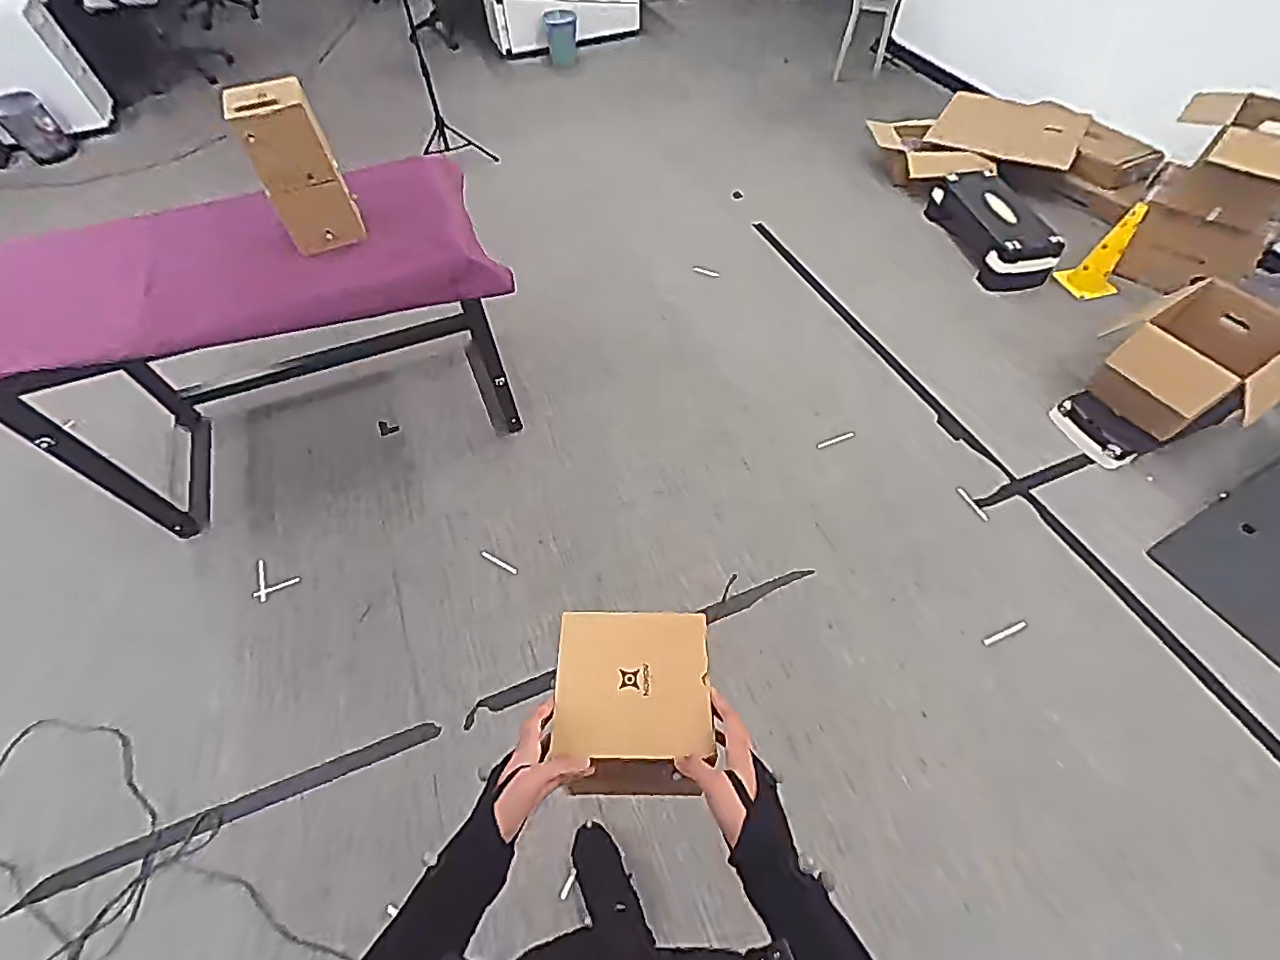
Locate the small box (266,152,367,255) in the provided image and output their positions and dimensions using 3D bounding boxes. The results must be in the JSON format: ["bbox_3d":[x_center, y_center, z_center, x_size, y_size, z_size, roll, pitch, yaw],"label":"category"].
[{"bbox_3d":[-0.850,-0.732,1.435,0.179,0.176,0.168,-22,58,-13],"label":"small box"}]

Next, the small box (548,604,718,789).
[{"bbox_3d":[-0.008,0.265,0.655,0.179,0.176,0.168,0,48,-1],"label":"small box"}]
